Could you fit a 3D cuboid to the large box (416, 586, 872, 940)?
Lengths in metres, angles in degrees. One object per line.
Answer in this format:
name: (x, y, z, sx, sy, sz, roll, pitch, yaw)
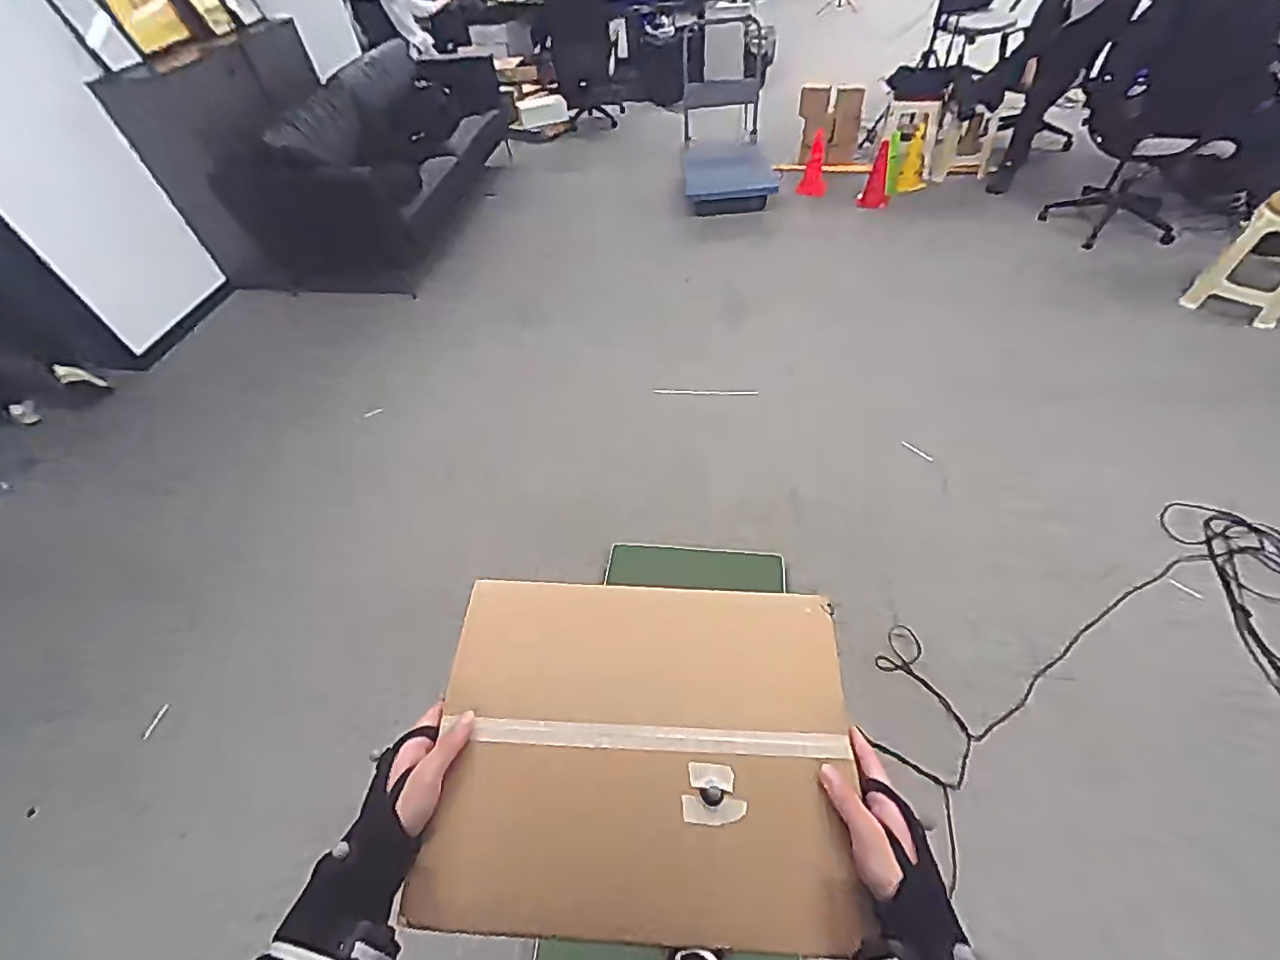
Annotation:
large box: (0.005, 0.342, 0.669, 0.408, 0.320, 0.320, 3, 56, 1)
